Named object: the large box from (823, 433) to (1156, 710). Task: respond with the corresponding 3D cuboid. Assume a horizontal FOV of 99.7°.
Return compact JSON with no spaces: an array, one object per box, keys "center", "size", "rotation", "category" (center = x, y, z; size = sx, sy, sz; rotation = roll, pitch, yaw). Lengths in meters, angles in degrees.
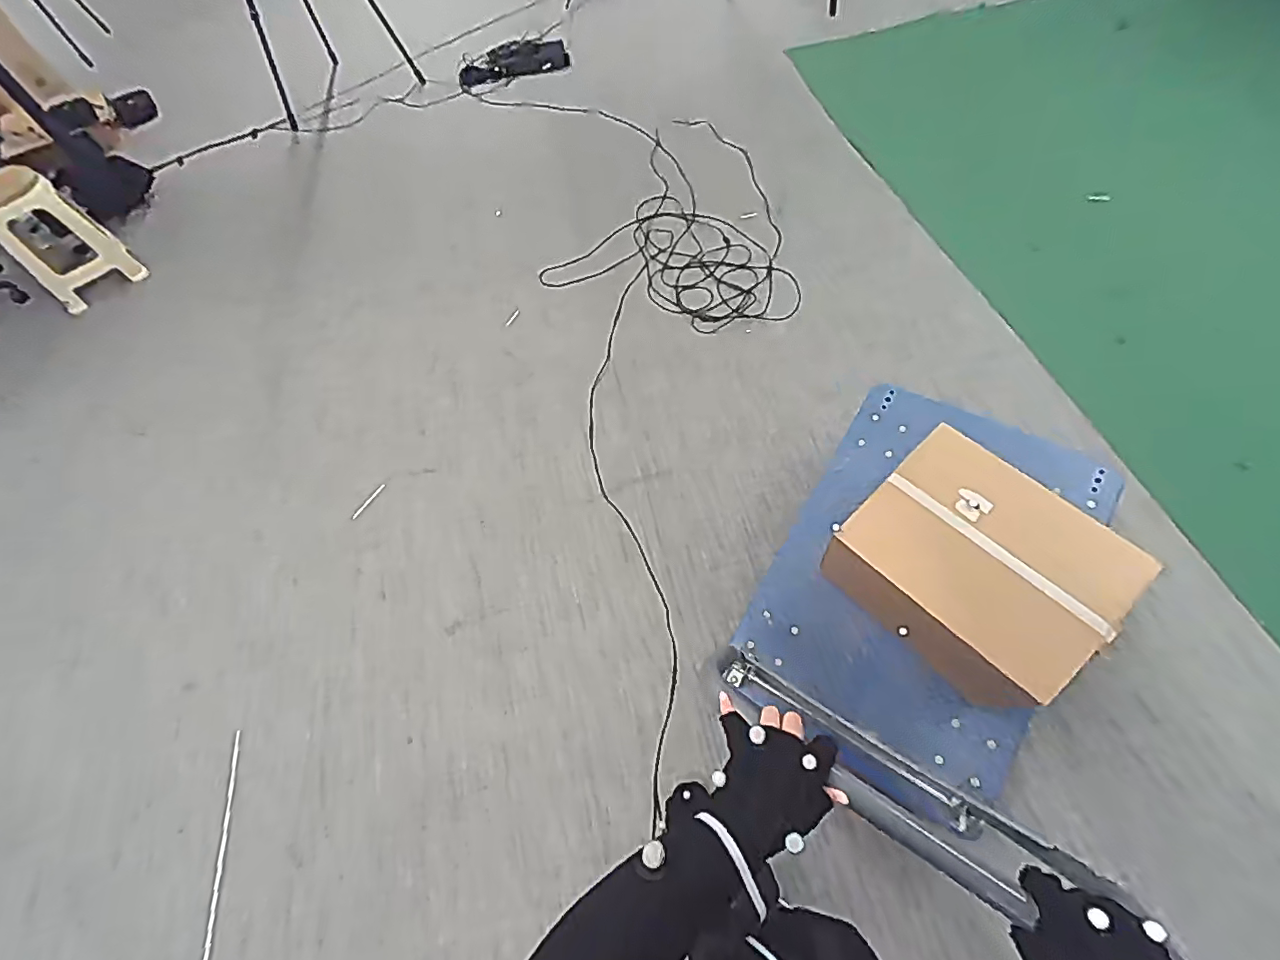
[{"center":[0.629,0.188,1.067],"size":[0.320,0.320,0.408],"rotation":[-43,65,-7],"category":"large box"}]
